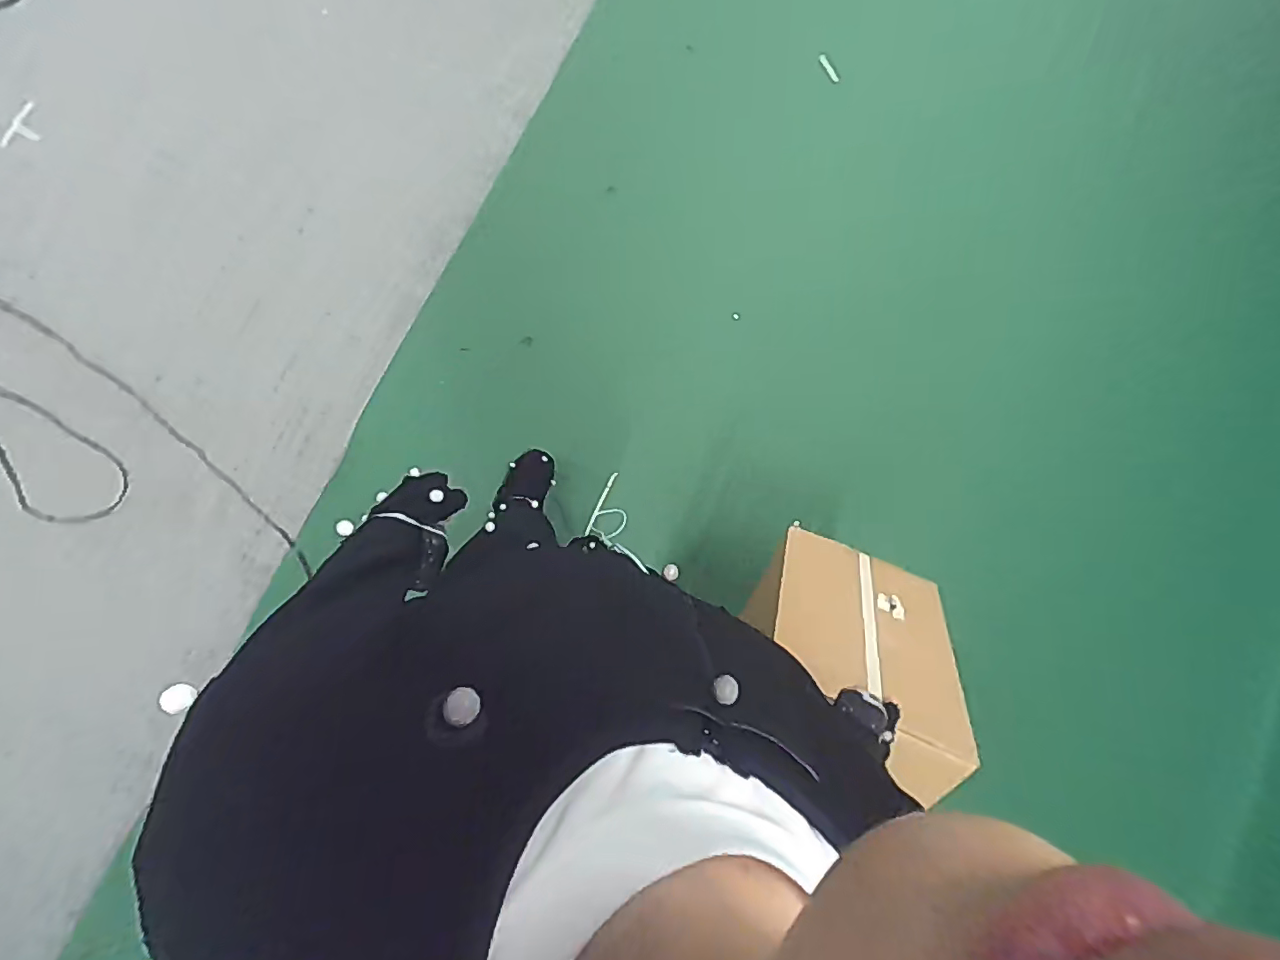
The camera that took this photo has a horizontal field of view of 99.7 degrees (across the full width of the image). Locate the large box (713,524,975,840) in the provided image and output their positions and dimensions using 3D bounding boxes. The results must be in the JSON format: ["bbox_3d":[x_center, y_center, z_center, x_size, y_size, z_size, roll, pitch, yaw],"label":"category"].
[{"bbox_3d":[0.356,0.358,1.025,0.320,0.408,0.320,22,123,7],"label":"large box"}]
